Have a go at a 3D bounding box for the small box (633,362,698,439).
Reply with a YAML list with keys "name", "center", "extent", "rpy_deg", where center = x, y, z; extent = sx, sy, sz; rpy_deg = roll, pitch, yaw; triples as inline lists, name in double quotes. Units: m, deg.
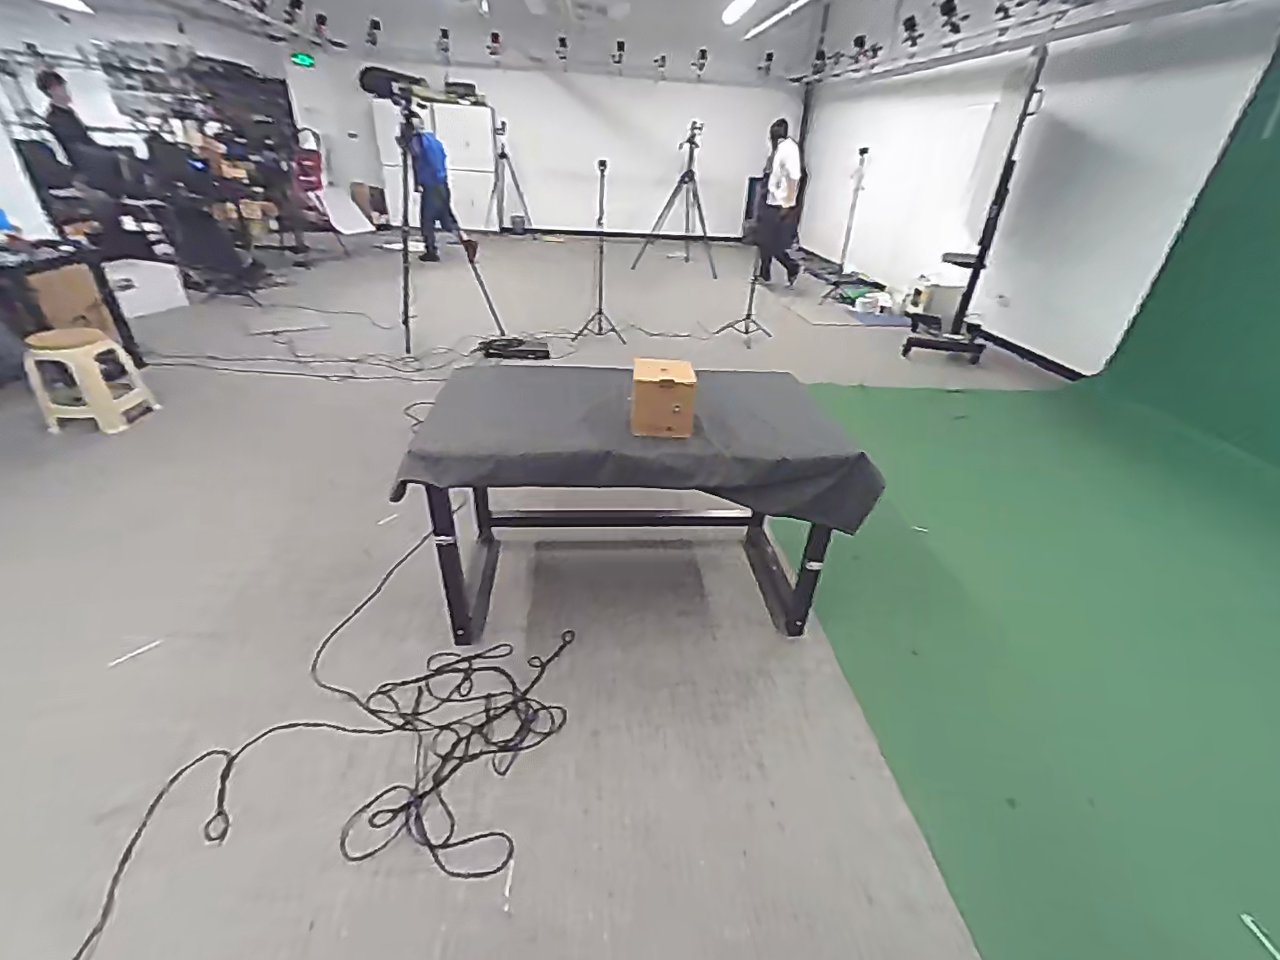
- name: "small box"
  center: [0.067, -0.224, 1.525]
  extent: [0.168, 0.176, 0.179]
  rpy_deg: [3, 30, -3]
